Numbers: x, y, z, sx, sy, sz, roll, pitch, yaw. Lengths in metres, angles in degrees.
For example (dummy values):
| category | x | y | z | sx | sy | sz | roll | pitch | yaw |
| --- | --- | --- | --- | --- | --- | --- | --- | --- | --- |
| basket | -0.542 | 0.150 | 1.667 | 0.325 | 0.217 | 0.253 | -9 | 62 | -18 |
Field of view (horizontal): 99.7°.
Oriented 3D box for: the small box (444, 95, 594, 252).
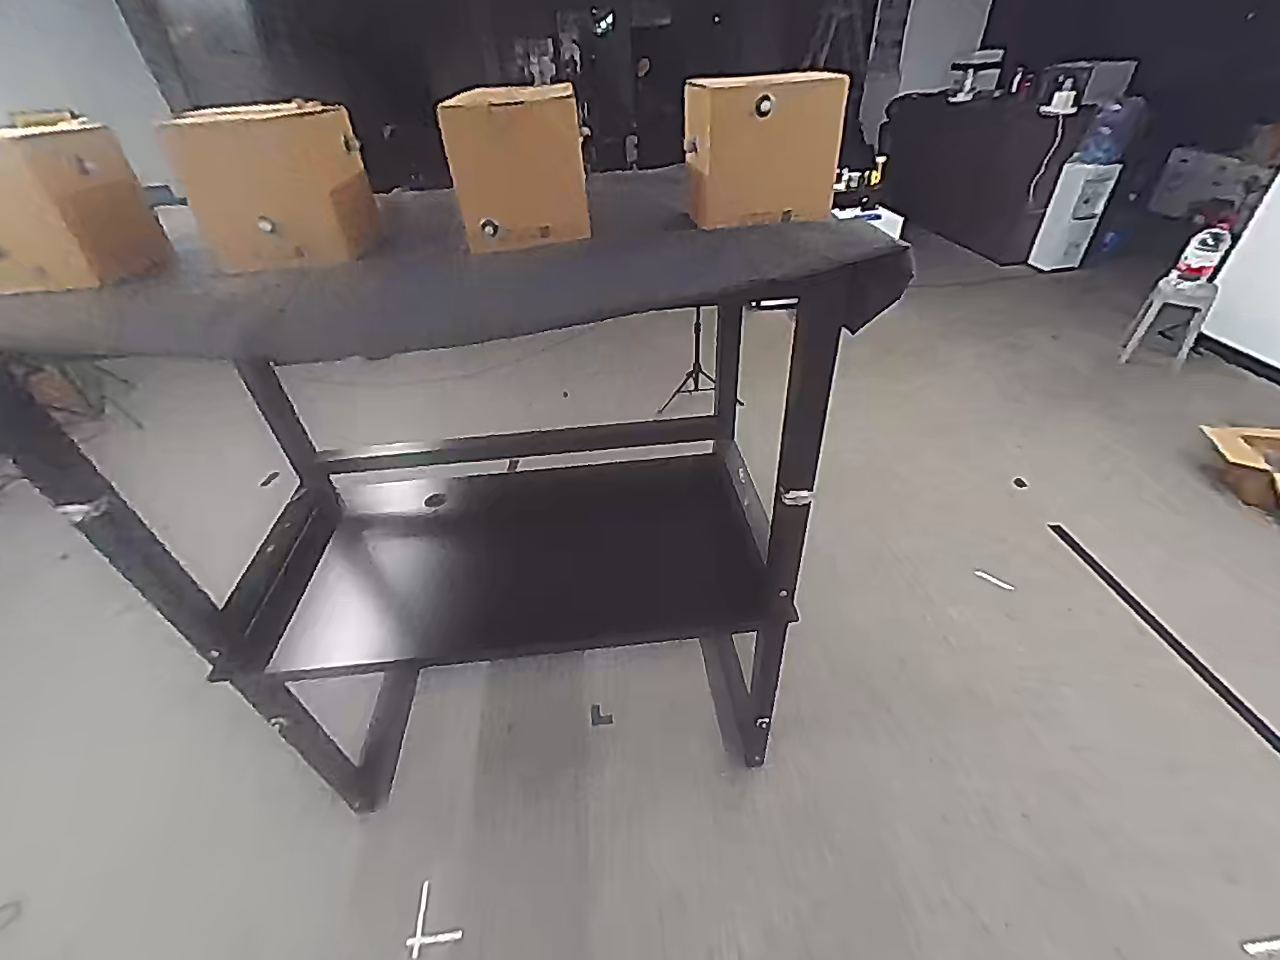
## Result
| category | x | y | z | sx | sy | sz | roll | pitch | yaw |
| --- | --- | --- | --- | --- | --- | --- | --- | --- | --- |
| small box | -0.156 | -0.424 | 0.754 | 0.168 | 0.176 | 0.179 | -7 | 38 | -4 |

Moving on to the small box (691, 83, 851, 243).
| category | x | y | z | sx | sy | sz | roll | pitch | yaw |
| --- | --- | --- | --- | --- | --- | --- | --- | --- | --- |
| small box | 0.163 | -0.435 | 0.741 | 0.168 | 0.176 | 0.179 | -6 | 37 | -2 |

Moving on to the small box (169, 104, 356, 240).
| category | x | y | z | sx | sy | sz | roll | pitch | yaw |
| --- | --- | --- | --- | --- | --- | --- | --- | --- | --- |
| small box | -0.604 | -0.512 | 0.899 | 0.179 | 0.176 | 0.168 | -7 | 39 | -5 |

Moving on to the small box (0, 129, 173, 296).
| category | x | y | z | sx | sy | sz | roll | pitch | yaw |
| --- | --- | --- | --- | --- | --- | --- | --- | --- | --- |
| small box | -0.774 | -0.353 | 0.710 | 0.168 | 0.176 | 0.179 | -7 | 38 | -5 |
